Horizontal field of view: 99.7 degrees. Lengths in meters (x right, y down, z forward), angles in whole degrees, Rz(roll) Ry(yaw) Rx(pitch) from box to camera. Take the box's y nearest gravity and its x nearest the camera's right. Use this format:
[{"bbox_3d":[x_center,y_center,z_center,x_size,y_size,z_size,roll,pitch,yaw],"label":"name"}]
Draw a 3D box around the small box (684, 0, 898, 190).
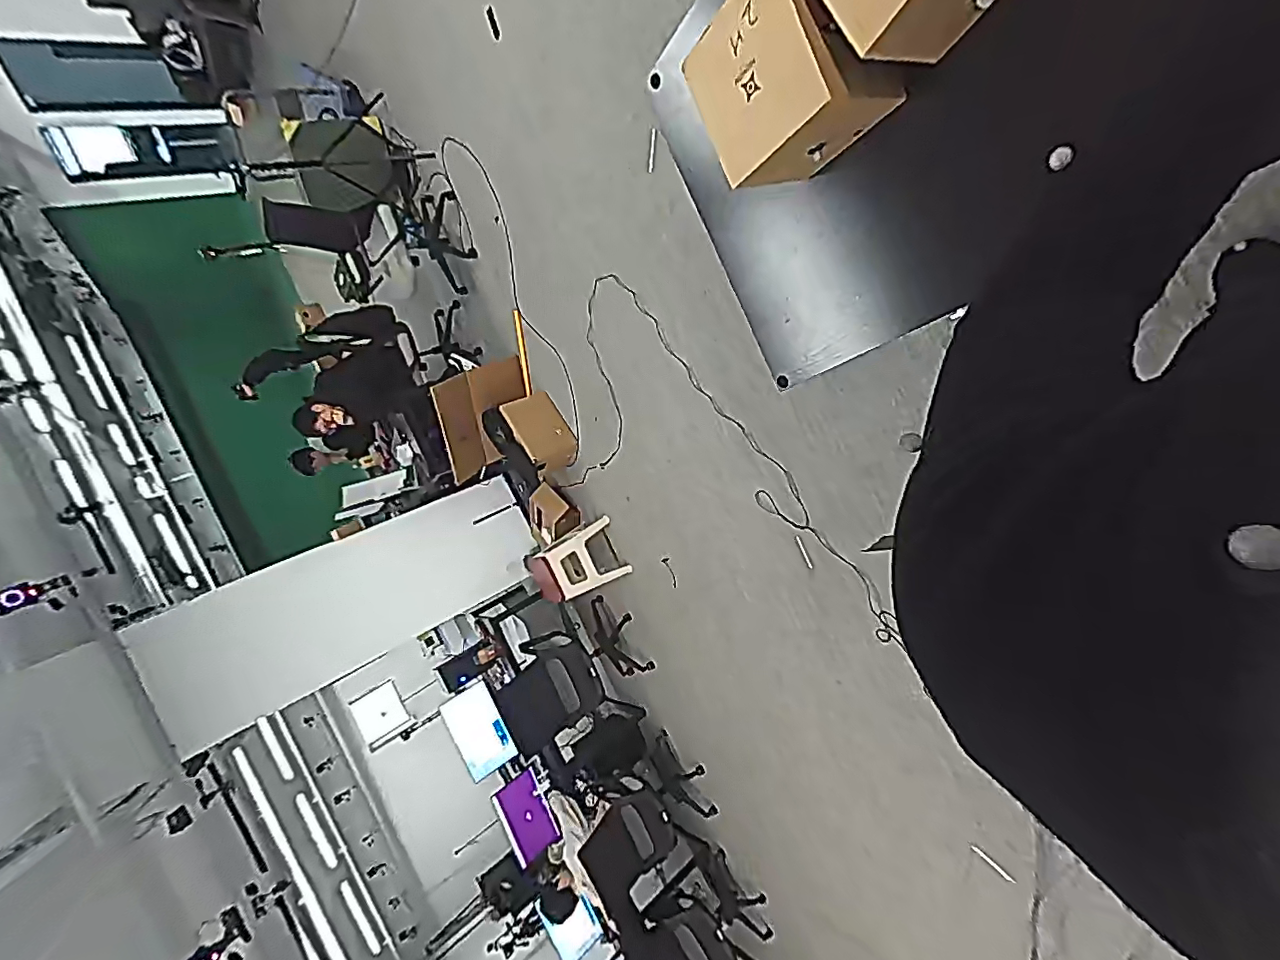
[{"bbox_3d":[0.193,-0.506,0.689,0.168,0.176,0.179,-17,97,57],"label":"small box"}]
